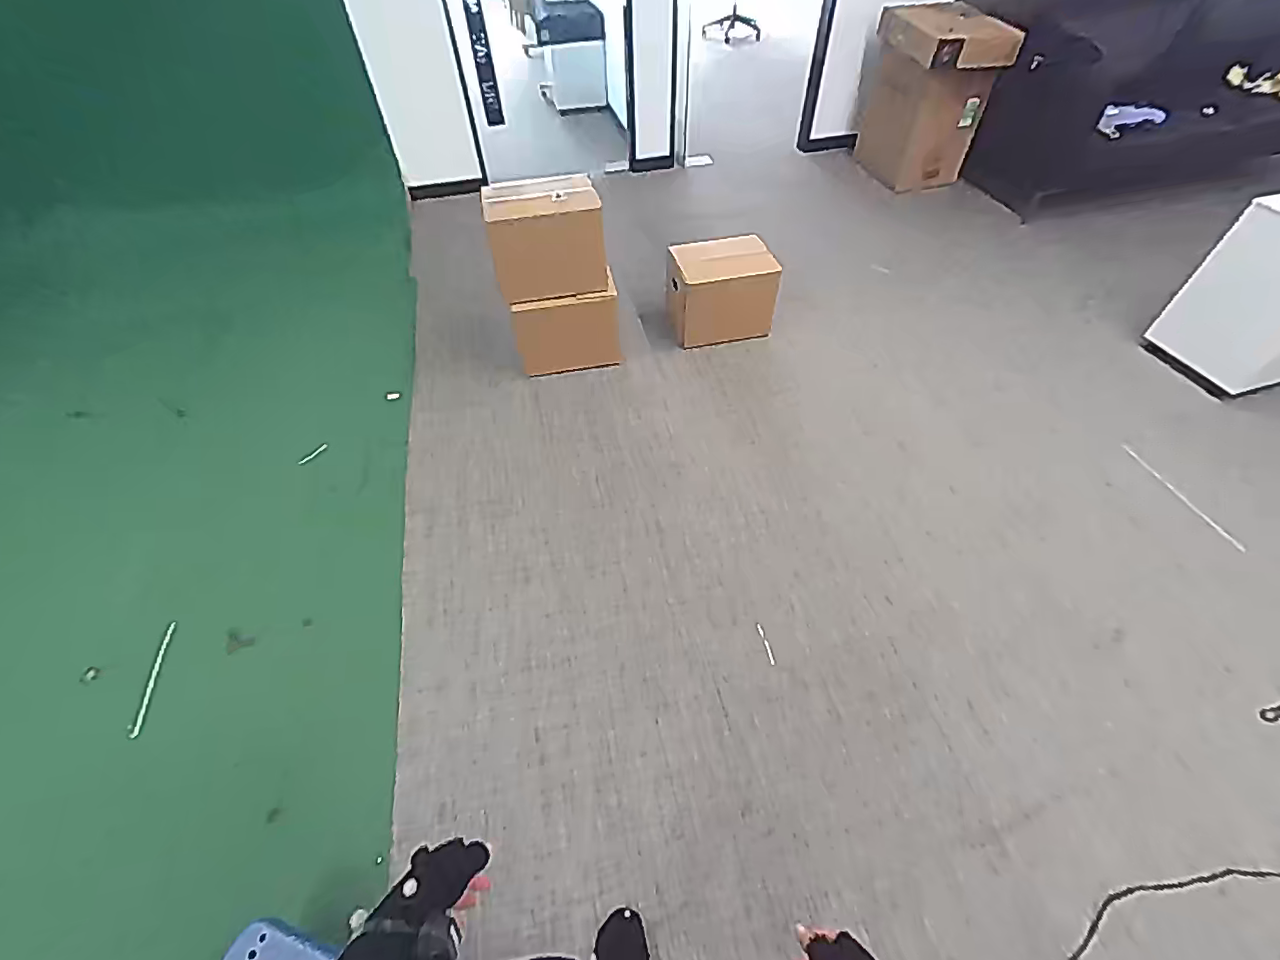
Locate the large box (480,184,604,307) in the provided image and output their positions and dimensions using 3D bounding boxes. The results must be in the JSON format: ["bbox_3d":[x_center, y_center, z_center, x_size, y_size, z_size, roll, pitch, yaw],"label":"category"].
[{"bbox_3d":[-0.364,-0.883,2.035,0.408,0.320,0.320,-10,48,-8],"label":"large box"}]
